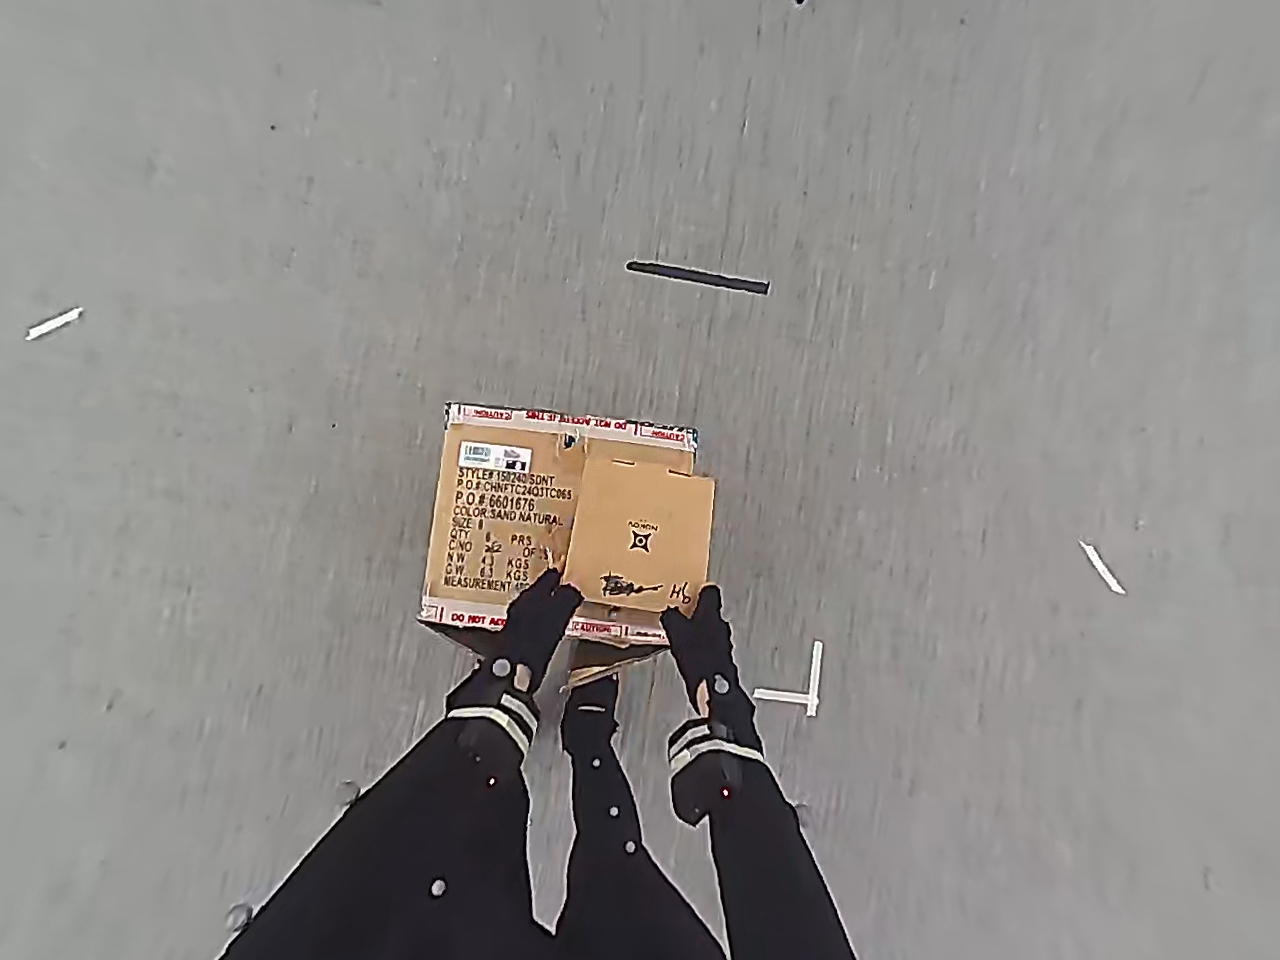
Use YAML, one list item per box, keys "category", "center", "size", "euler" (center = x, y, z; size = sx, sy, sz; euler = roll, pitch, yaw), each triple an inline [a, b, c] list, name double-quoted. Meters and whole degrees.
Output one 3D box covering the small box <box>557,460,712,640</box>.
- category: "small box"
  center: [-0.013, 0.099, 0.707]
  size: [0.168, 0.176, 0.179]
  euler: [11, 66, -6]
